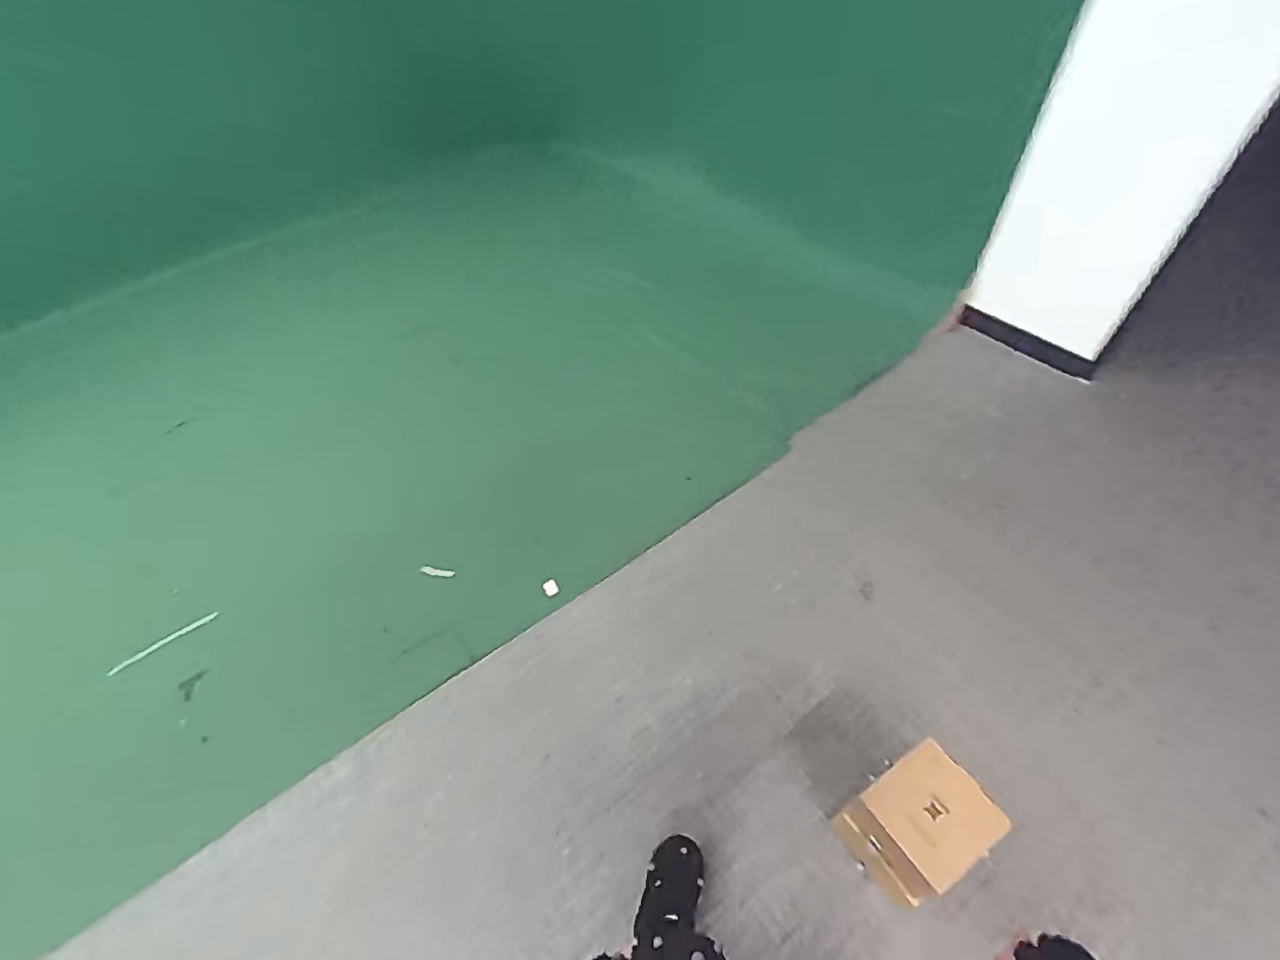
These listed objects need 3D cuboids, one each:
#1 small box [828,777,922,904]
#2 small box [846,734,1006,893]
[{"bbox_3d":[0.507,0.704,1.086,0.168,0.176,0.179,-30,54,-15],"label":"small box"},{"bbox_3d":[0.494,0.595,0.965,0.179,0.176,0.168,-31,52,-14],"label":"small box"}]
